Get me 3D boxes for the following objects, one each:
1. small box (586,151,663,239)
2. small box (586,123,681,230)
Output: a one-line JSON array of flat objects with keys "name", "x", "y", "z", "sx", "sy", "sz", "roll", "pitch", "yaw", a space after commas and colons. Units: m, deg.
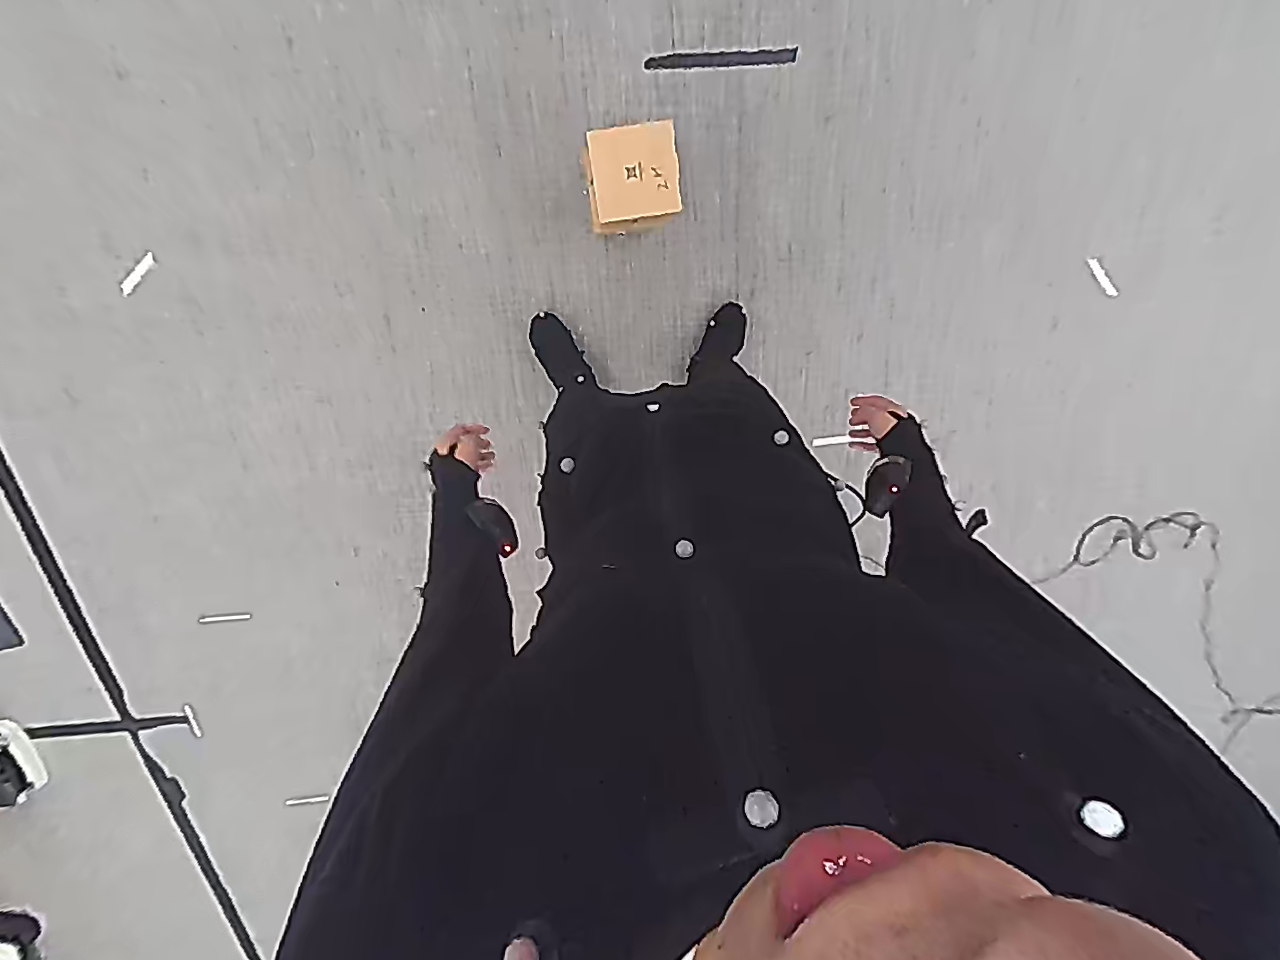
[{"name": "small box", "x": -0.040, "y": -0.692, "z": 1.310, "sx": 0.168, "sy": 0.176, "sz": 0.179, "roll": -7, "pitch": 112, "yaw": -2}, {"name": "small box", "x": -0.014, "y": -0.638, "z": 1.157, "sx": 0.179, "sy": 0.176, "sz": 0.168, "roll": -8, "pitch": 111, "yaw": -1}]
